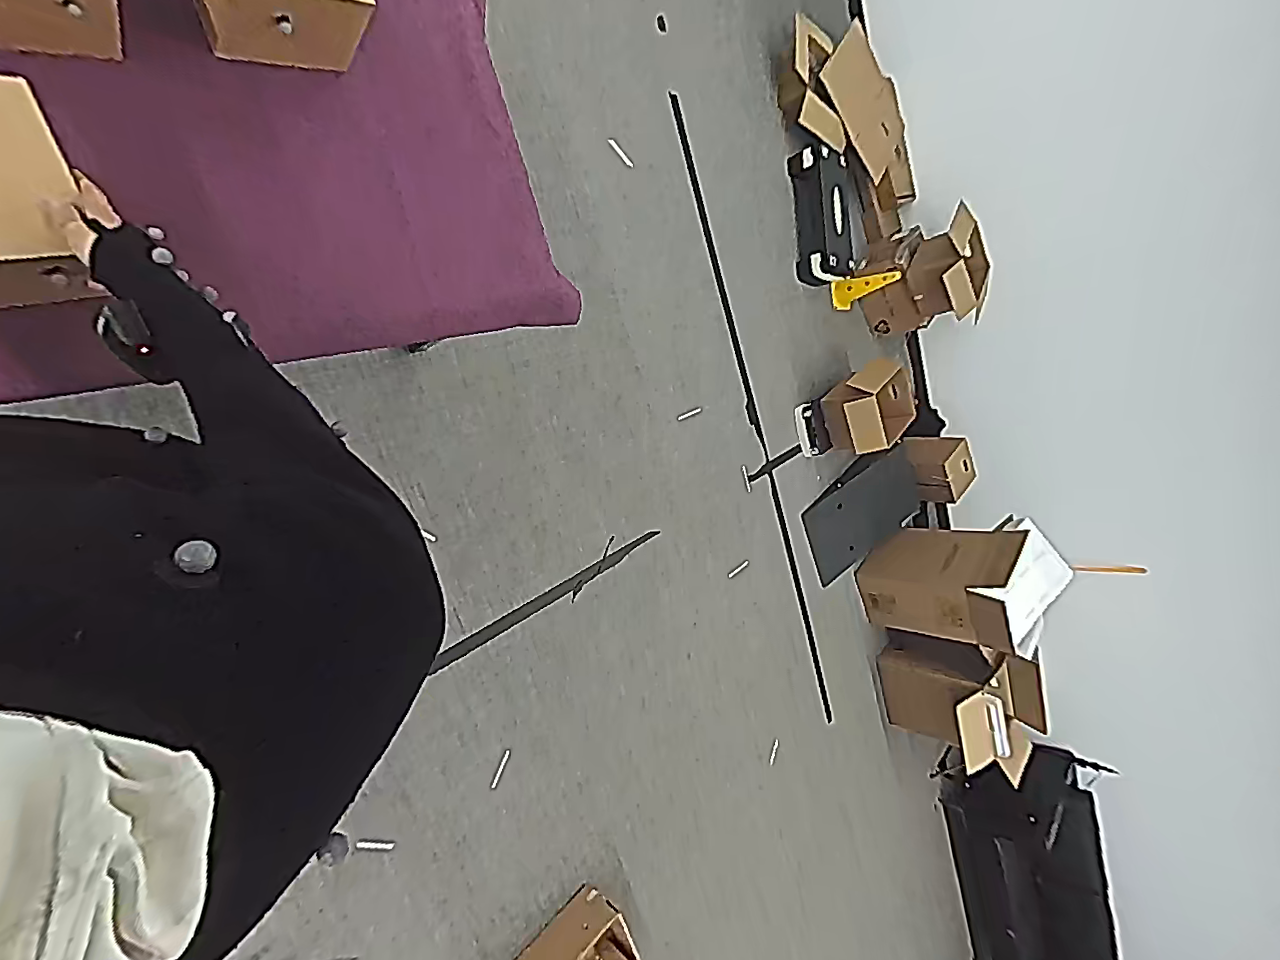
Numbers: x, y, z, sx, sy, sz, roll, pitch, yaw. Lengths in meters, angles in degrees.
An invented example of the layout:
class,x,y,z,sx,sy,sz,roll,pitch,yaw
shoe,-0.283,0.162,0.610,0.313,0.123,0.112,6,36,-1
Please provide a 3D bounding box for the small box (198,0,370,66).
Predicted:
class,x,y,z,sx,sy,sz,roll,pitch,yaw
small box,-0.490,-0.686,0.713,0.179,0.176,0.168,-26,109,-37

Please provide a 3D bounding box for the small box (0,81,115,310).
class,x,y,z,sx,sy,sz,roll,pitch,yaw
small box,-0.678,-0.276,0.544,0.179,0.176,0.168,-27,107,-37
